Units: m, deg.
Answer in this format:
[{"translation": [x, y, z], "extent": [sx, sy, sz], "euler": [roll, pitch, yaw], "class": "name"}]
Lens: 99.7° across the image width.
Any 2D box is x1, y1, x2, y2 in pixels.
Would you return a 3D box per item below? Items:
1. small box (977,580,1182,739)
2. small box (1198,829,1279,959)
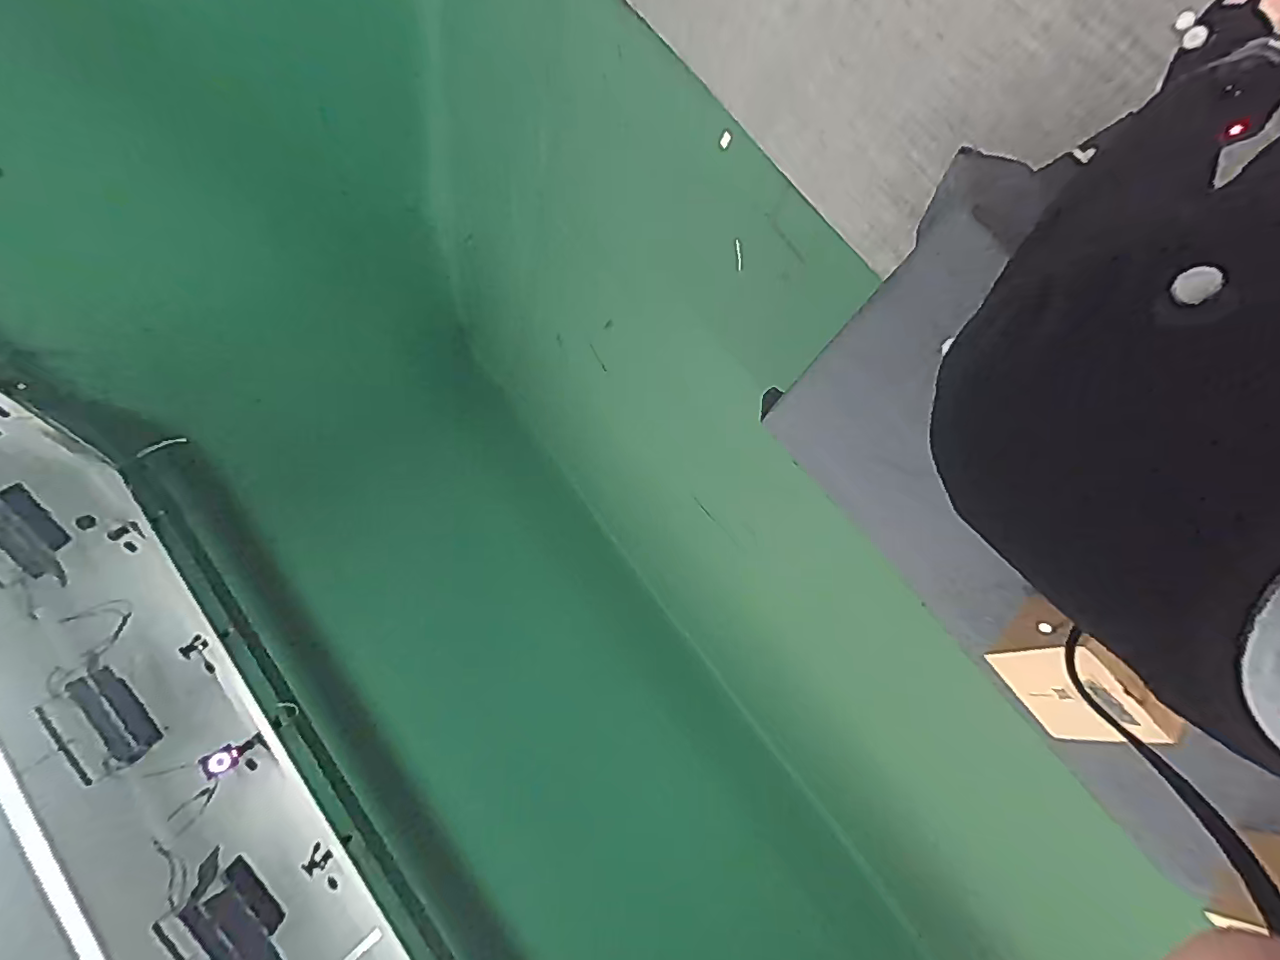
[{"translation": [0.694, 0.278, 0.853], "extent": [0.168, 0.176, 0.179], "euler": [52, 154, 8], "class": "small box"}, {"translation": [0.987, 0.644, 0.780], "extent": [0.168, 0.176, 0.179], "euler": [52, 153, 10], "class": "small box"}]
